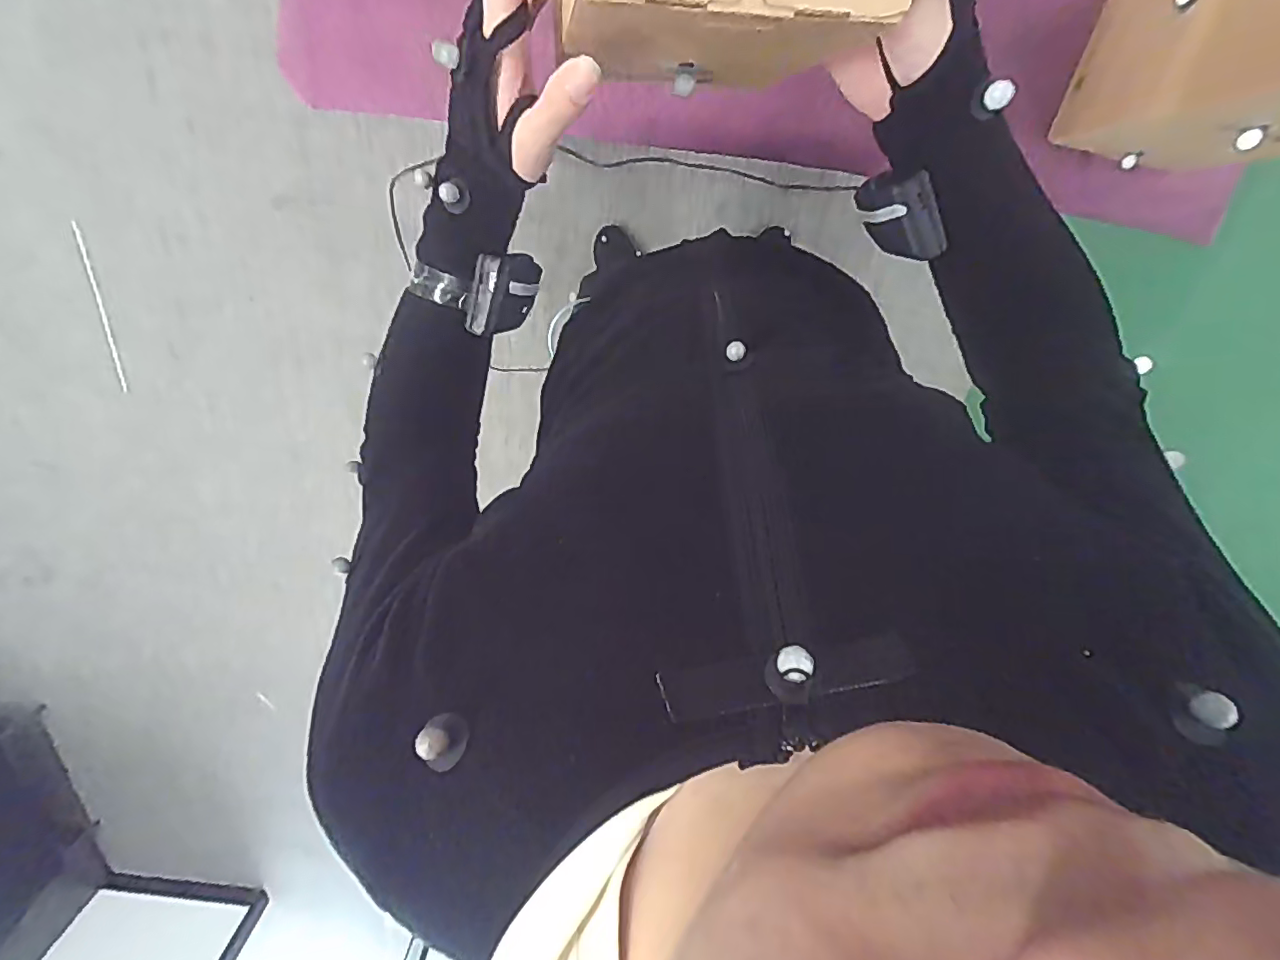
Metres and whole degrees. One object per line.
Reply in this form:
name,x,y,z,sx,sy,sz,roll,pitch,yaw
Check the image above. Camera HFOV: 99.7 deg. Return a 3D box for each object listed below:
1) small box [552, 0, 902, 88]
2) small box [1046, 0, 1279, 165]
small box,0.036,-0.338,0.291,0.168,0.176,0.179,-5,118,-10
small box,0.607,-0.454,0.584,0.179,0.176,0.168,11,114,-3
